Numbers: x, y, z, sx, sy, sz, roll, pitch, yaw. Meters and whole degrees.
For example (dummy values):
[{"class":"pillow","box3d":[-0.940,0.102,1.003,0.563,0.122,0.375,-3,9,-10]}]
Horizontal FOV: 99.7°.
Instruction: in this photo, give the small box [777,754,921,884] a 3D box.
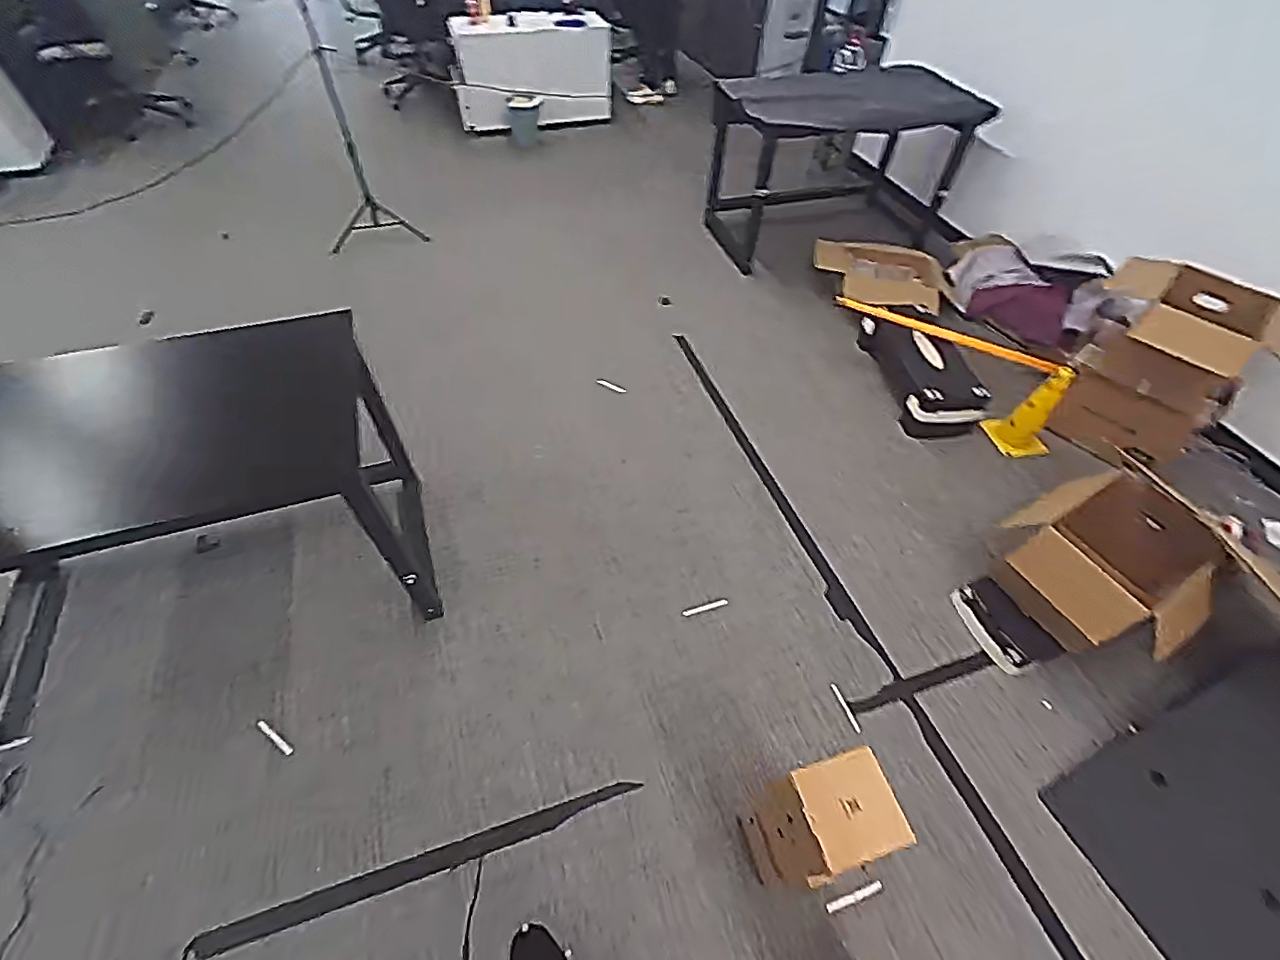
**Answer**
[{"class":"small box","box3d":[0.389,0.651,1.042,0.179,0.176,0.168,-12,54,-11]}]

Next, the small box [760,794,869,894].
[{"class":"small box","box3d":[0.379,0.760,1.162,0.168,0.176,0.179,-13,55,-13]}]
